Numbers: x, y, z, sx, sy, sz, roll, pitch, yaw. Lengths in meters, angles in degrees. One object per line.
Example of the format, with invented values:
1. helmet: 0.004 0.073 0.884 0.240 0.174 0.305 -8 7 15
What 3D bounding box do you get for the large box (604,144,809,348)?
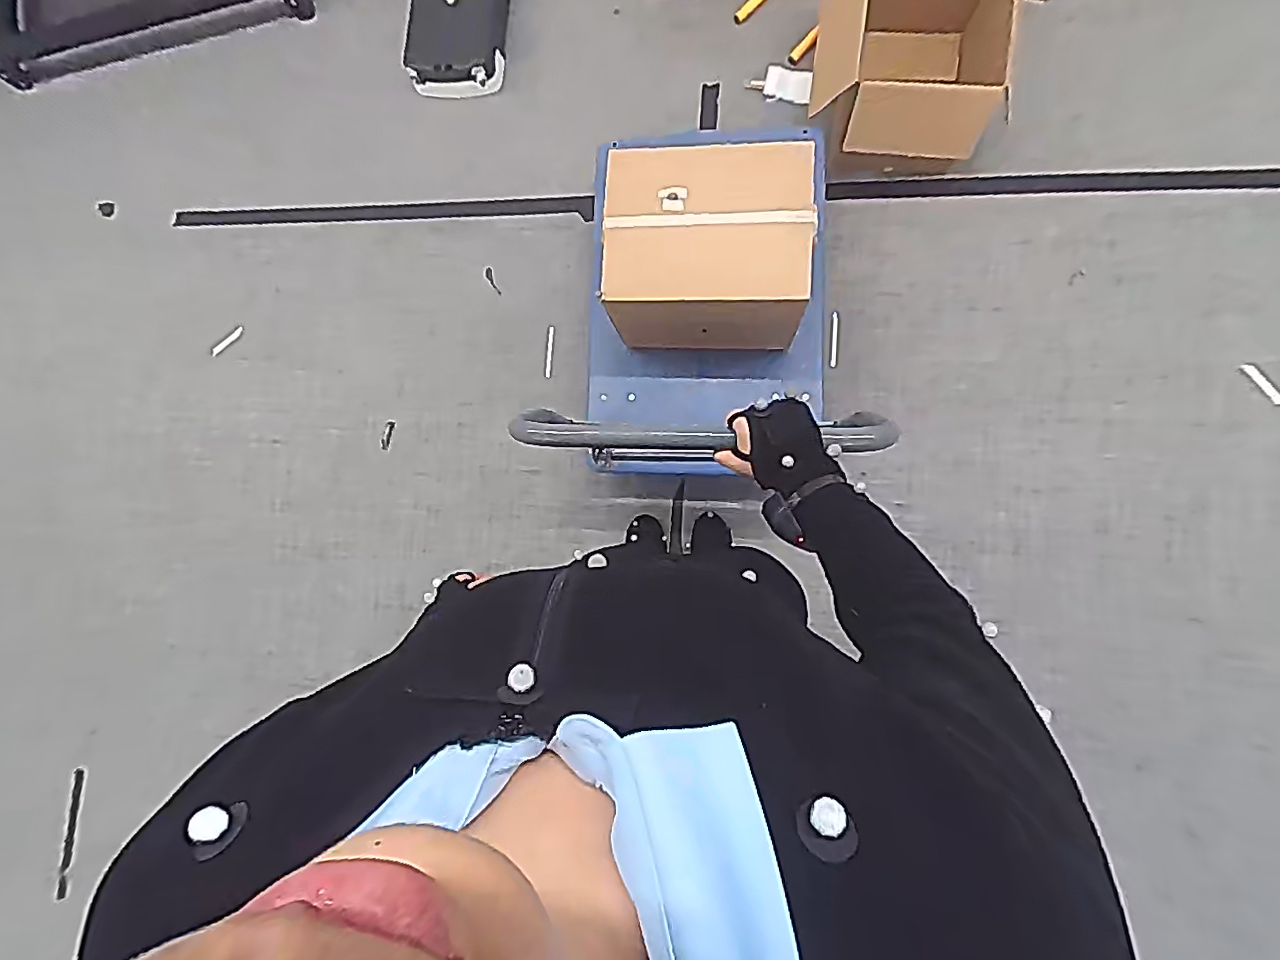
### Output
1. large box: 0.152 -0.492 1.214 0.408 0.320 0.320 2 86 9
